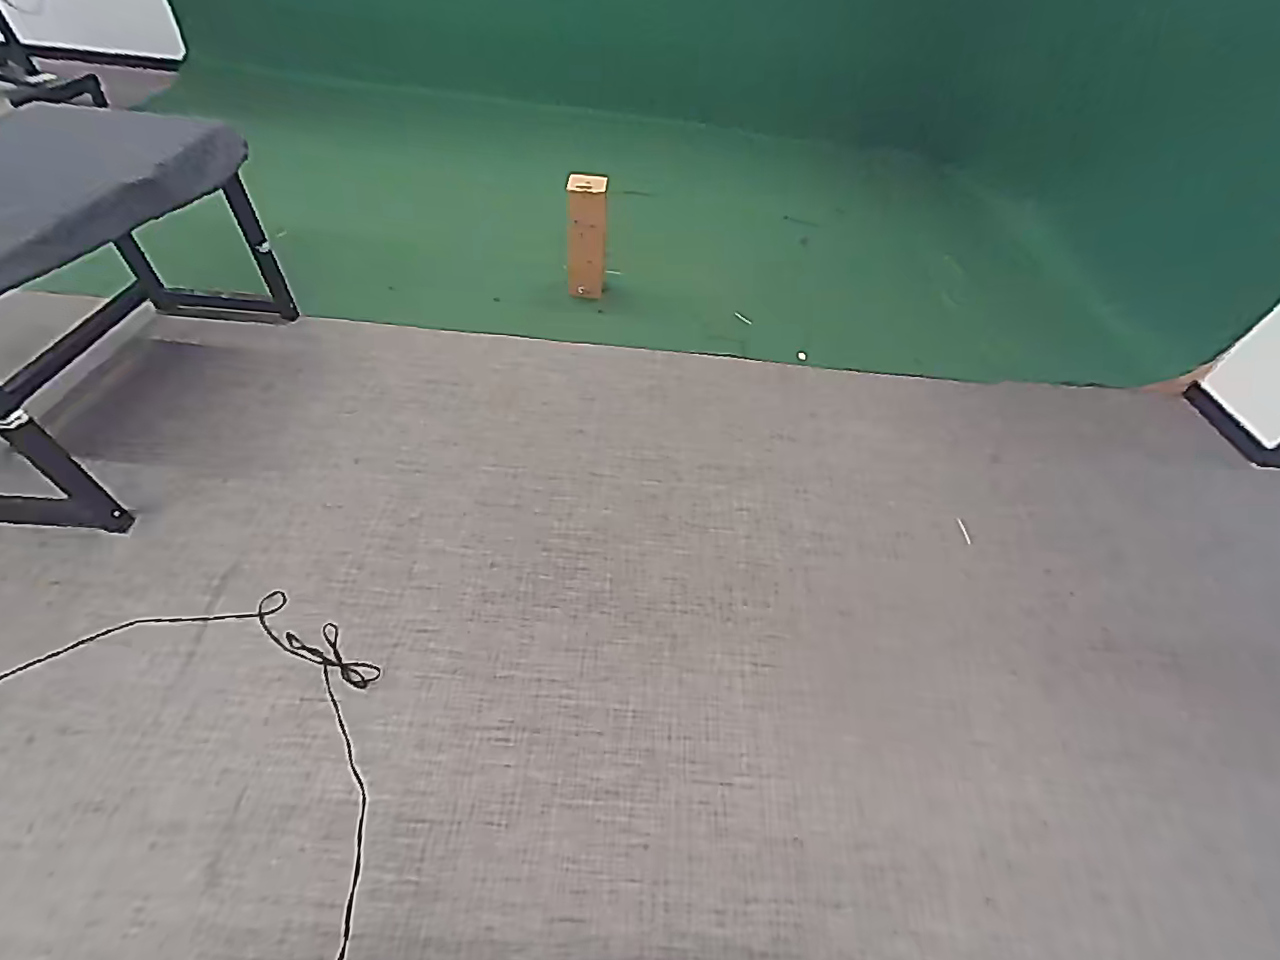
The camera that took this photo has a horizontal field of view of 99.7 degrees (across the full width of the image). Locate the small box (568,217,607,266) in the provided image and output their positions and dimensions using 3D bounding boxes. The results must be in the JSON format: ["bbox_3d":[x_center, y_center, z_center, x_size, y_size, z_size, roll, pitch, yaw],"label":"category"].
[{"bbox_3d":[-0.246,-1.129,2.530,0.168,0.176,0.179,5,48,-1],"label":"small box"}]

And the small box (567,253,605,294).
[{"bbox_3d":[-0.262,-1.033,2.638,0.168,0.176,0.179,5,49,0],"label":"small box"}]

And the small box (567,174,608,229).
[{"bbox_3d":[-0.231,-1.238,2.408,0.168,0.176,0.179,4,48,-2],"label":"small box"}]
